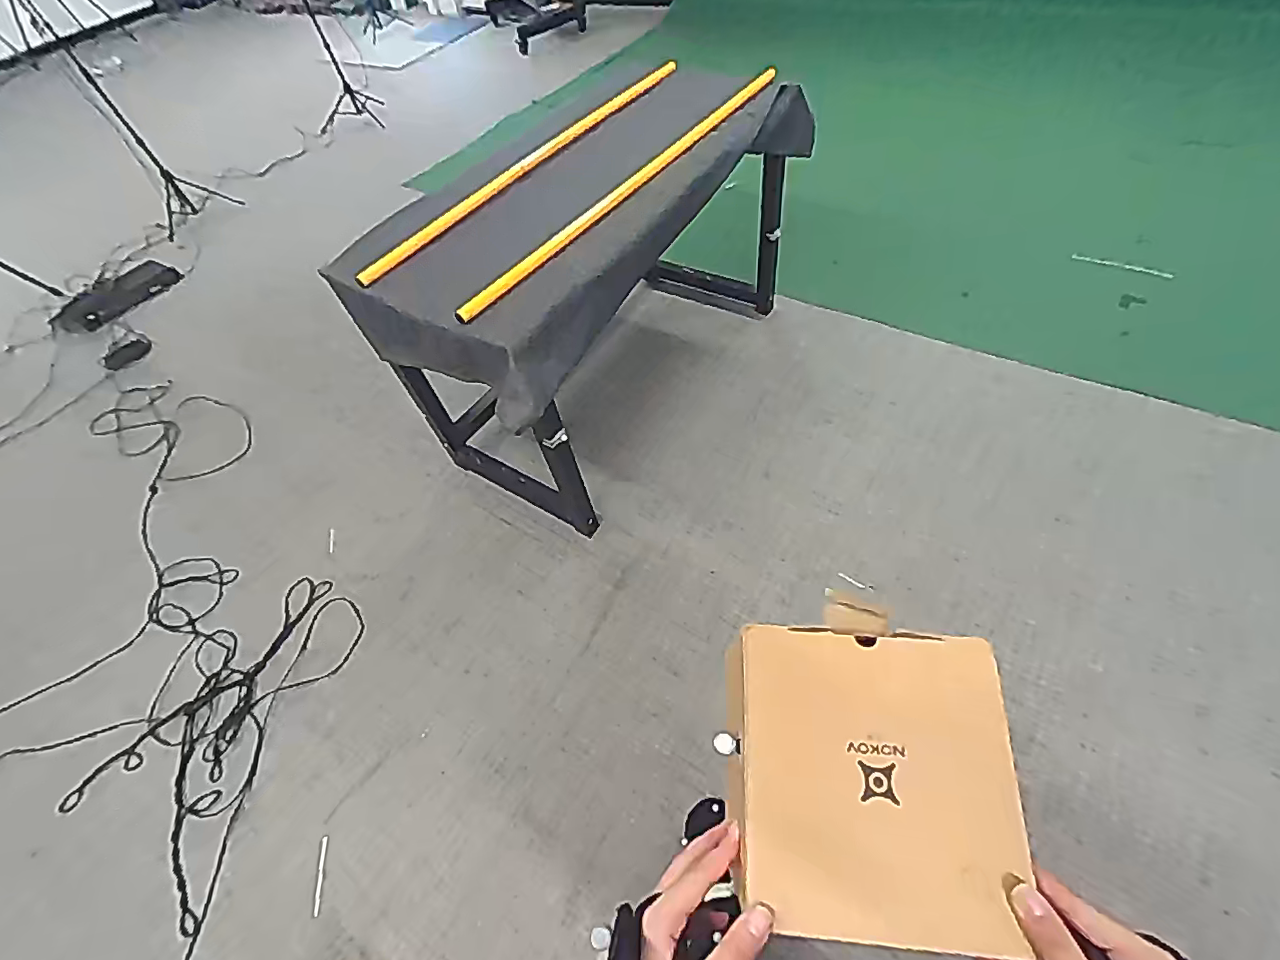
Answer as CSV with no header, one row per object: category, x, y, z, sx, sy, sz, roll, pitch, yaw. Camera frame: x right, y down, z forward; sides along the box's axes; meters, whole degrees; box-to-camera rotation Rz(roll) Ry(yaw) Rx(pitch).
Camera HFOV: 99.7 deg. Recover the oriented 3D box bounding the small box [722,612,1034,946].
small box,0.151,0.207,0.413,0.168,0.176,0.179,2,66,6
